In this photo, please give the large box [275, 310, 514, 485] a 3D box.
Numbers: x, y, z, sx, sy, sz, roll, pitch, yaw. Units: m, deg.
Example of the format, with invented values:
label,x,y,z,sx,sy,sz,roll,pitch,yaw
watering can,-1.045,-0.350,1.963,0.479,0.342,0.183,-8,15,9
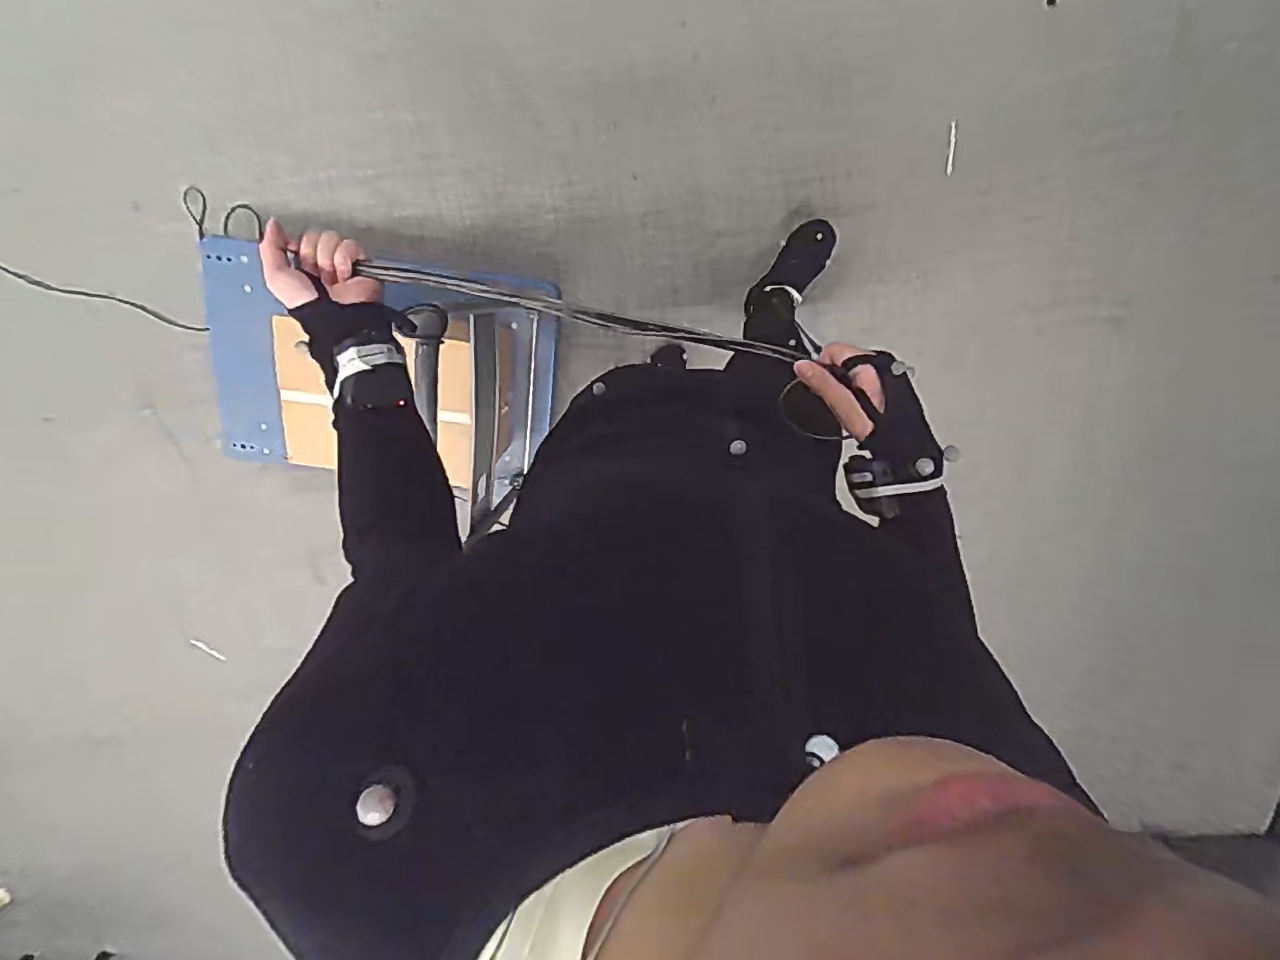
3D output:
label,x,y,z,sx,sy,sz,roll,pitch,yaw
large box,-0.524,-0.204,1.243,0.408,0.320,0.320,8,110,0
